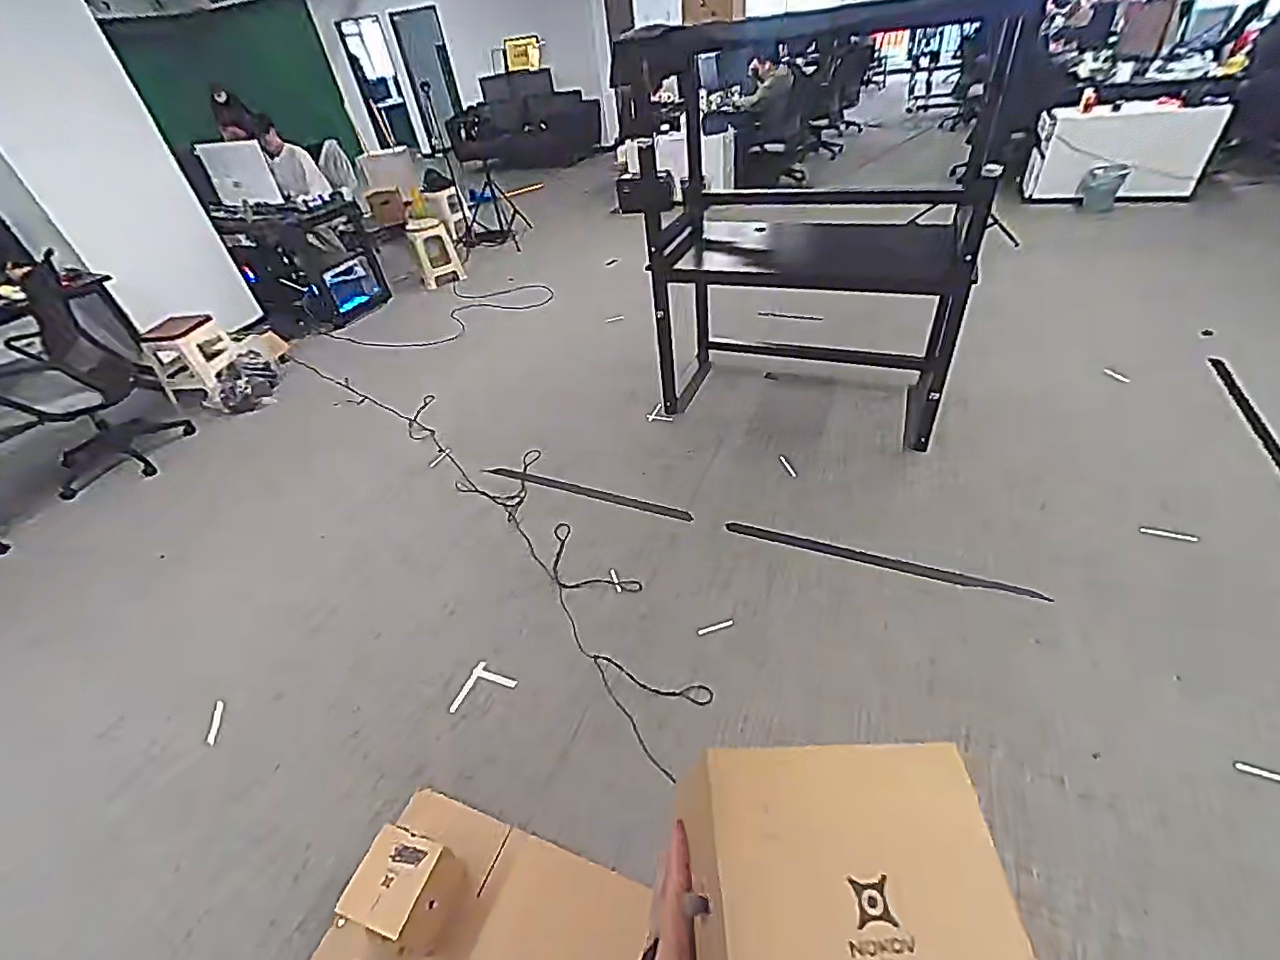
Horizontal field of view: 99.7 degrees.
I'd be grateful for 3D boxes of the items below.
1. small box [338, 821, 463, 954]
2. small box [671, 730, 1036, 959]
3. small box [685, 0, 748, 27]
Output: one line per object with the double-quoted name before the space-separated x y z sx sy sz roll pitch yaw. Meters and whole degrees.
"small box" -0.520 0.909 1.208 0.168 0.176 0.179 8 43 18
"small box" 0.115 0.277 0.349 0.168 0.176 0.179 0 52 -5
"small box" 0.240 -1.530 1.690 0.168 0.176 0.179 12 43 20
